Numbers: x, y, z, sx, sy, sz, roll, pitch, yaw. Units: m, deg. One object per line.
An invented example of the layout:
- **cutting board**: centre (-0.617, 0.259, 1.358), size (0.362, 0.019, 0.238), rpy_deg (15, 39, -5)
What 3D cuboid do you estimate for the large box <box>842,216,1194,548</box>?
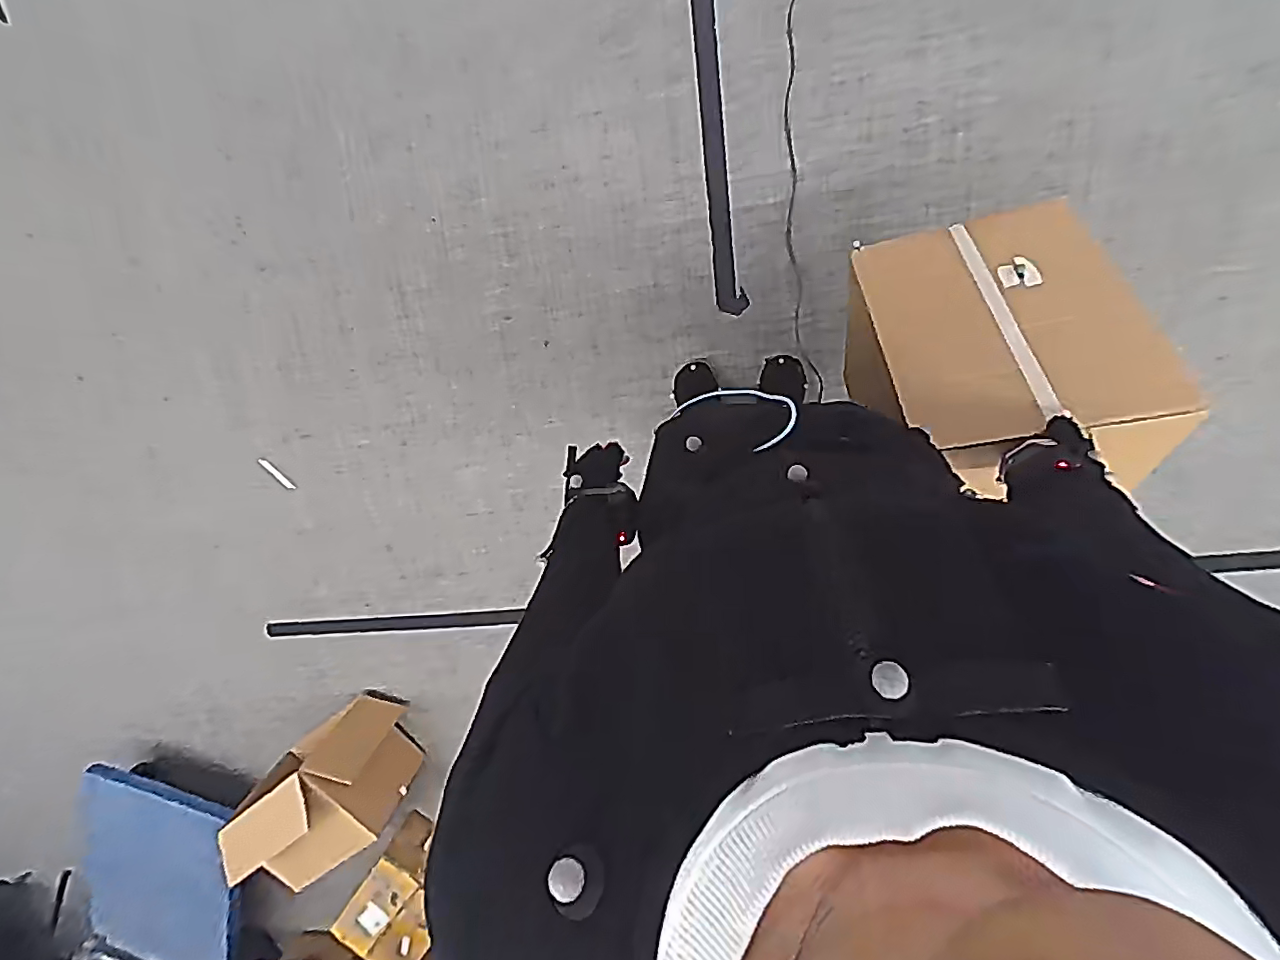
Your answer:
- **large box**: centre (0.538, -0.146, 0.889), size (0.320, 0.408, 0.320), rpy_deg (-8, 147, 11)
